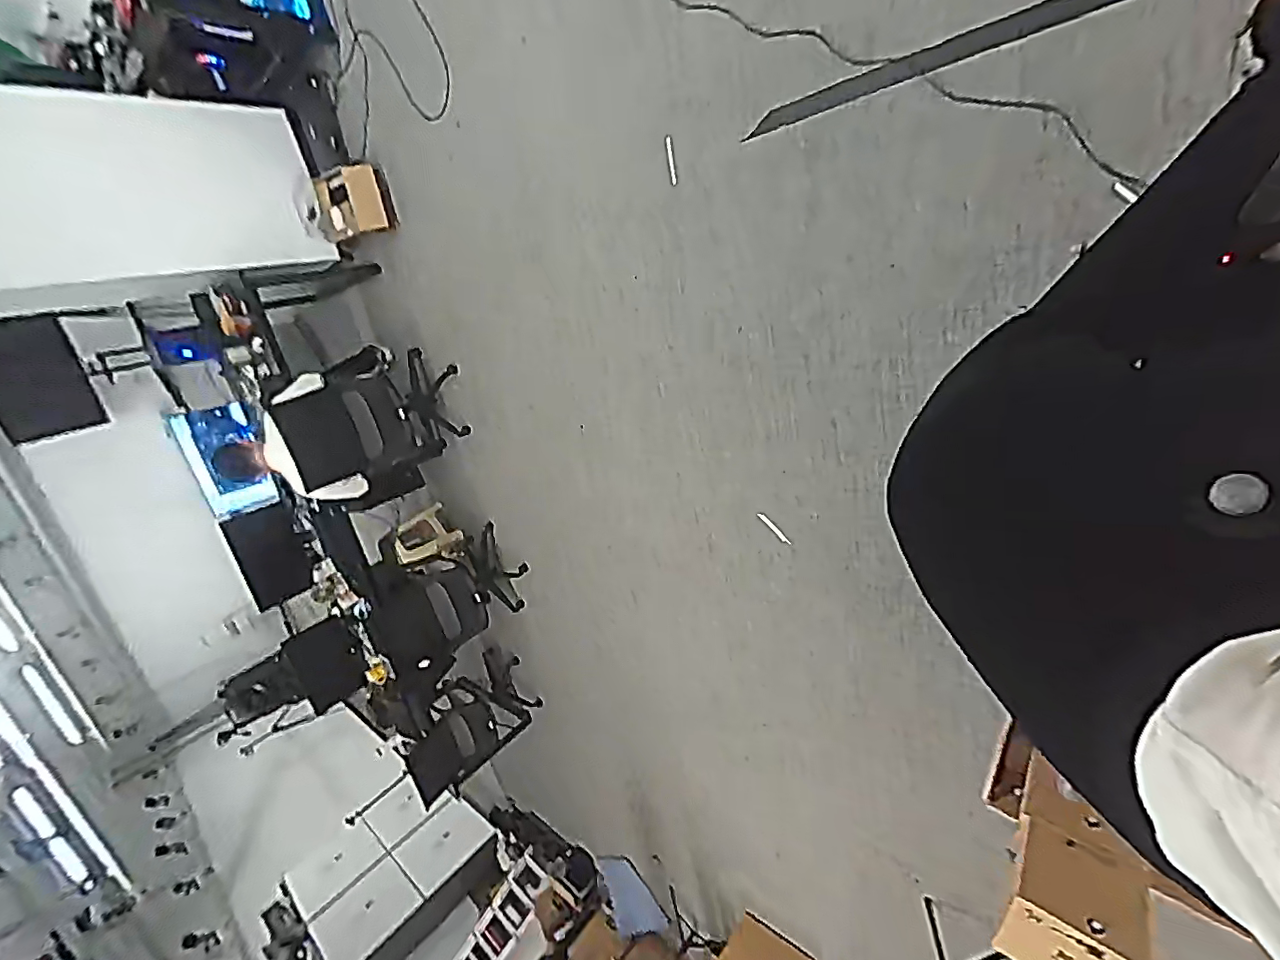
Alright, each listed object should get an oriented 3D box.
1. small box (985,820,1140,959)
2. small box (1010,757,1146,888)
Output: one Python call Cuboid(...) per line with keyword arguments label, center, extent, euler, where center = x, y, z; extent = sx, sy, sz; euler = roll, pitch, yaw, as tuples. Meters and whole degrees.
Cuboid(label="small box", center=(0.715, 0.735, 0.915), extent=(0.168, 0.176, 0.179), euler=(19, 126, 35))
Cuboid(label="small box", center=(0.822, 0.668, 1.021), extent=(0.179, 0.176, 0.168), euler=(13, 121, 39))
